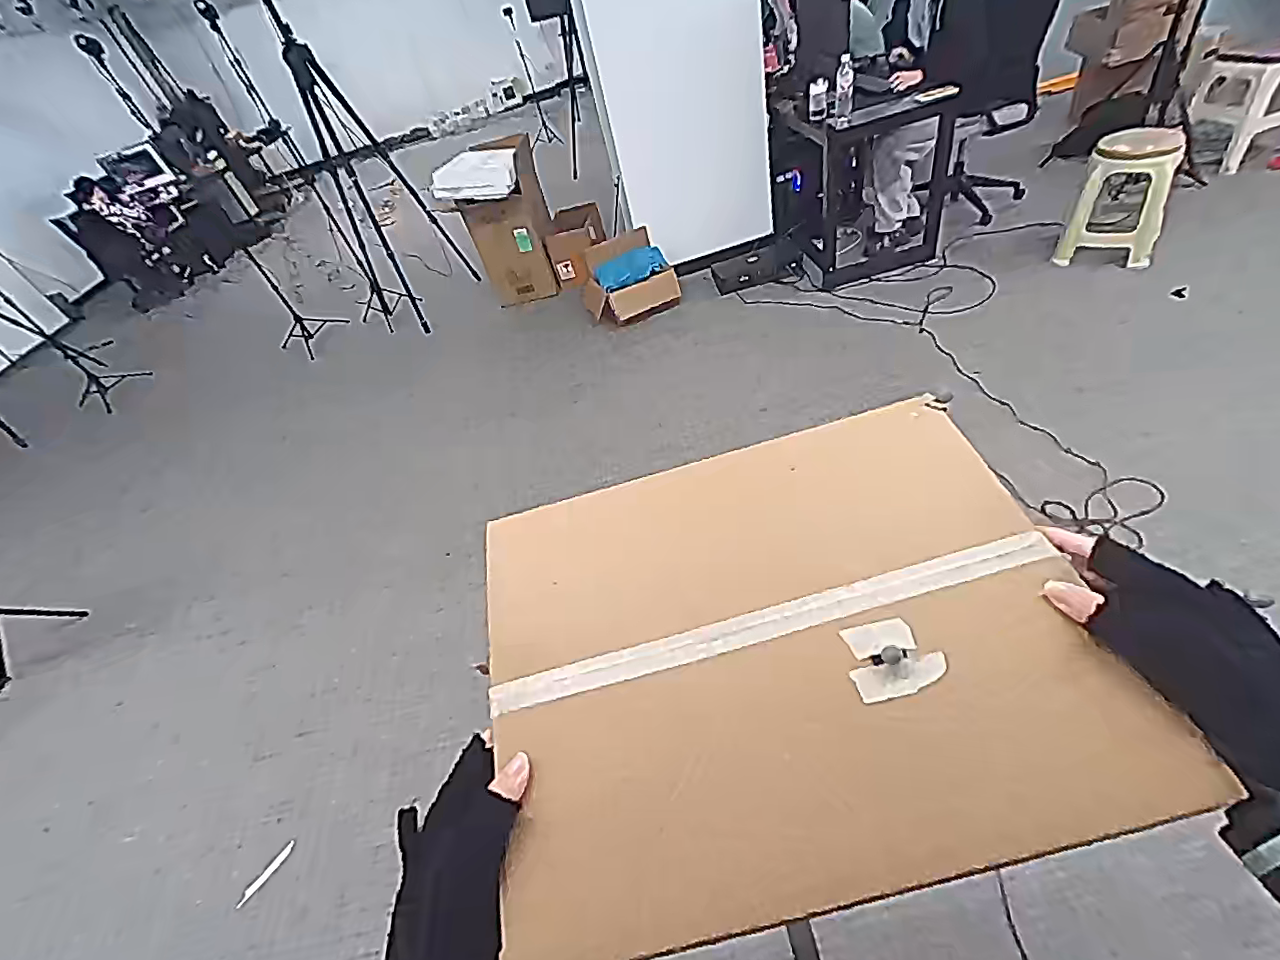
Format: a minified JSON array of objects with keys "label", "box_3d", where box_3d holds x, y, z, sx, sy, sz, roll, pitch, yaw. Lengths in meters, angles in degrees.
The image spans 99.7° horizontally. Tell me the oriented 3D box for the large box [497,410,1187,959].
[{"label":"large box","box_3d":[0.118,0.195,0.515,0.408,0.320,0.320,-16,53,1]}]
